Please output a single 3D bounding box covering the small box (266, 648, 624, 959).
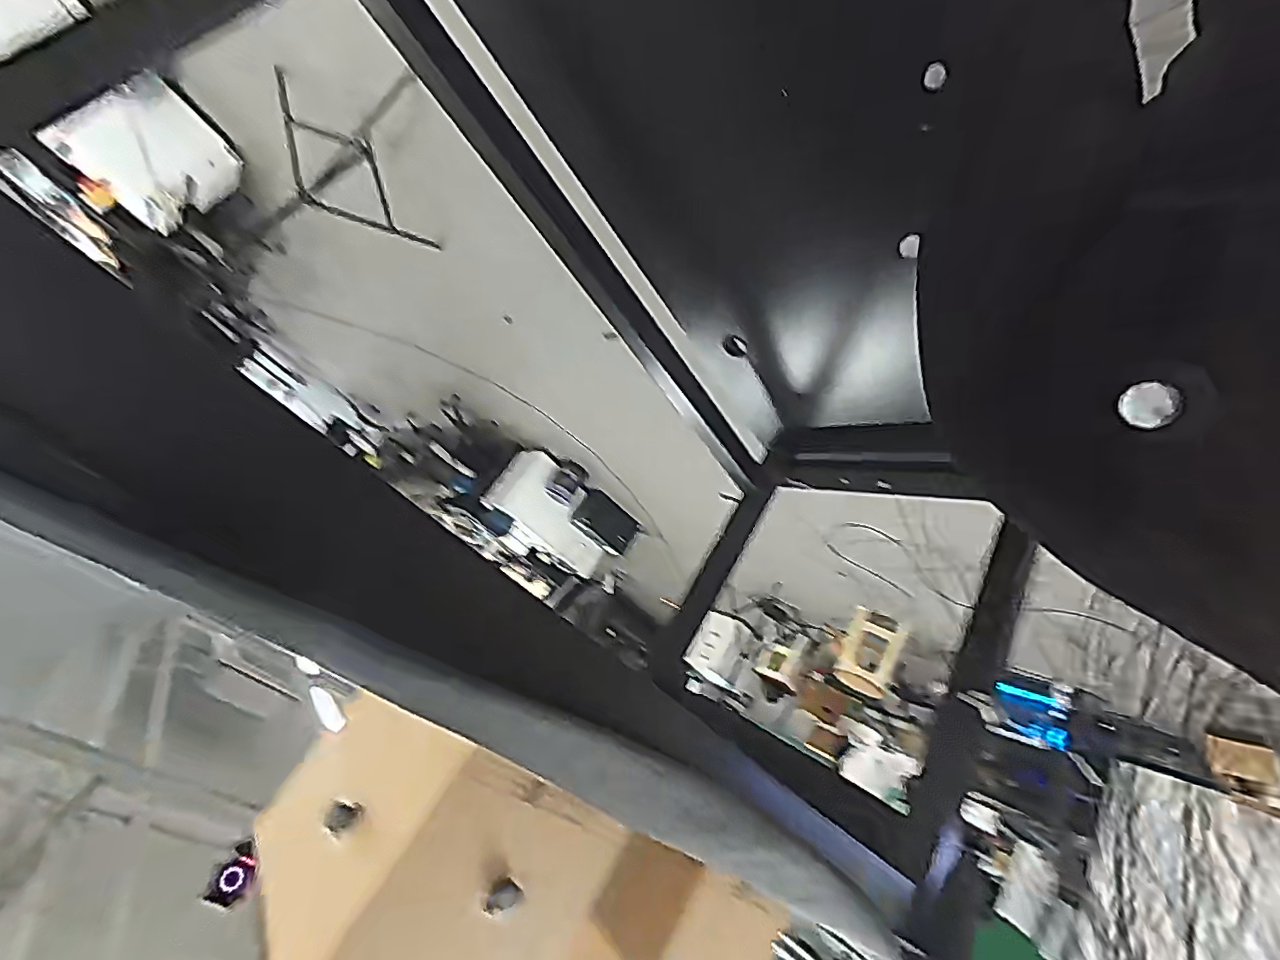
[{"bbox_3d":[-0.135,0.252,0.407,0.179,0.176,0.168,7,146,51],"label":"small box"}]
